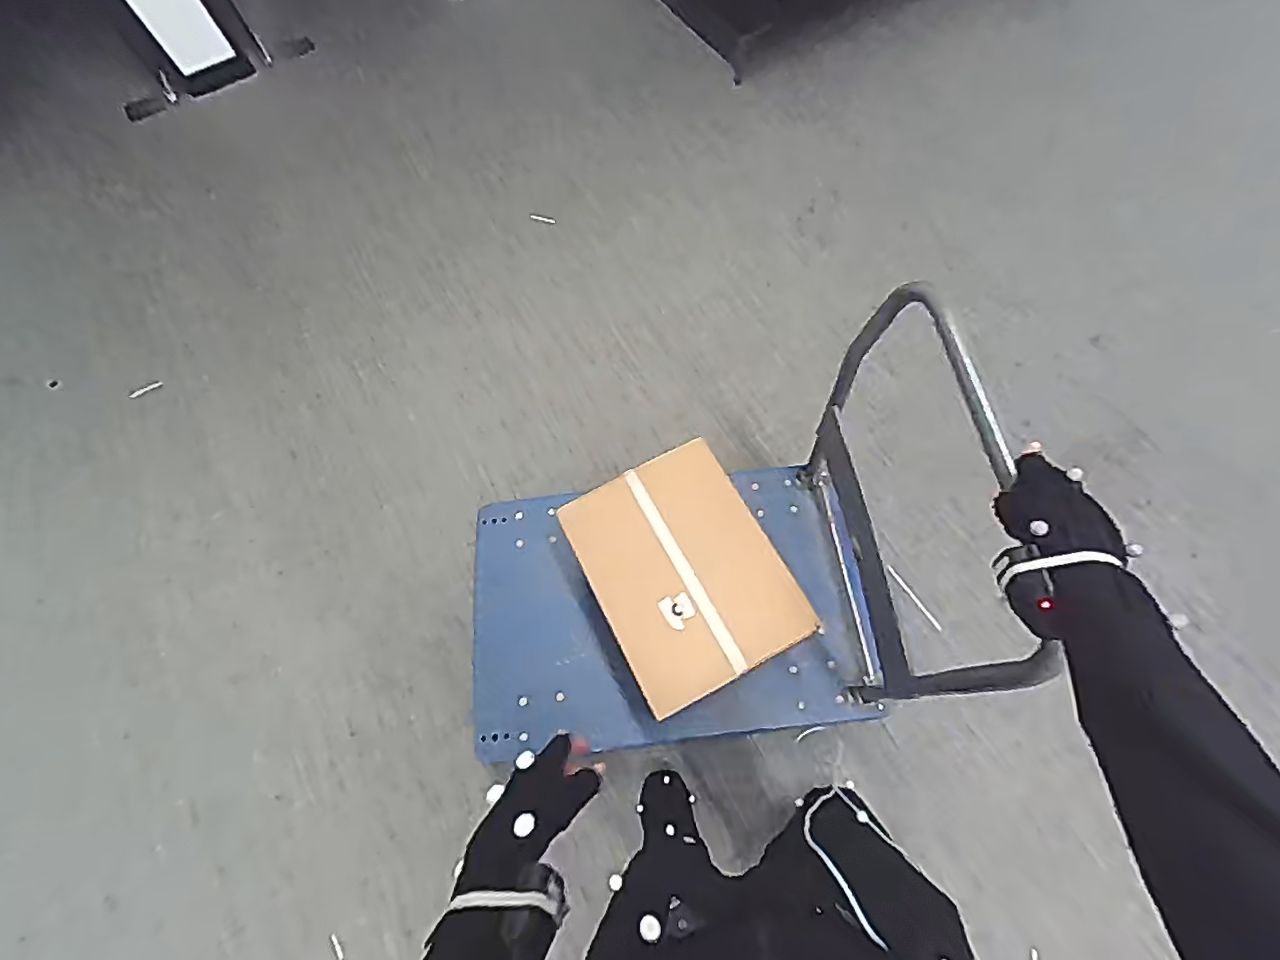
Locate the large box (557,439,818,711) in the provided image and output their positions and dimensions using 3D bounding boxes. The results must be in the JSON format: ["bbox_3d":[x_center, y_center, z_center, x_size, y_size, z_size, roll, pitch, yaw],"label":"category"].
[{"bbox_3d":[0.080,0.200,1.093,0.320,0.320,0.408,-28,69,-7],"label":"large box"}]
